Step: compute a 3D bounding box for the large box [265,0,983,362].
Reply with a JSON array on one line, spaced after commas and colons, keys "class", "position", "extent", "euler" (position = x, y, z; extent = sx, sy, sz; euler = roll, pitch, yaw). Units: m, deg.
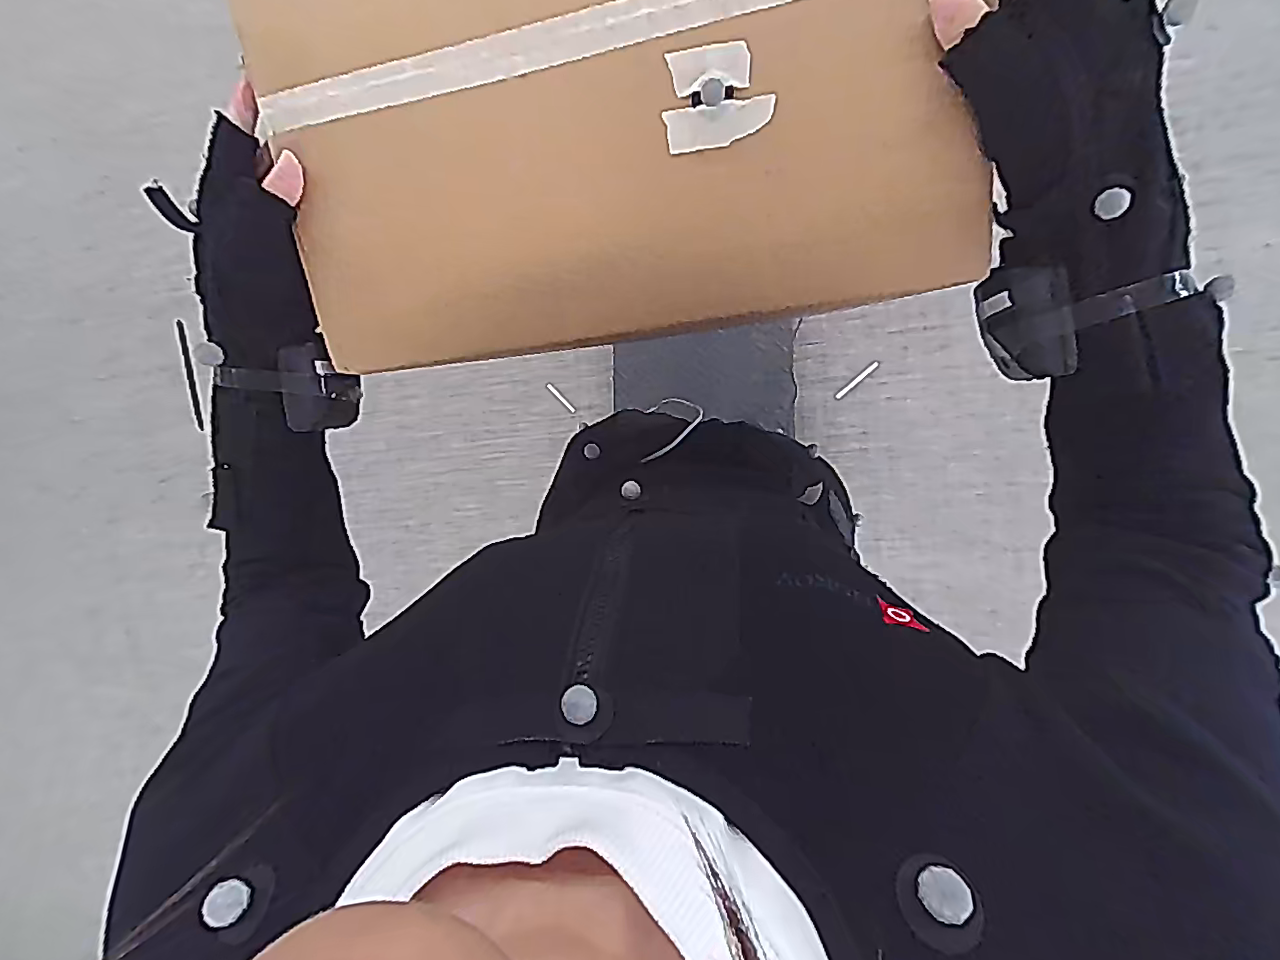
[{"class": "large box", "position": [-0.004, -0.288, 0.447], "extent": [0.408, 0.320, 0.320], "euler": [-6, 105, 10]}]
